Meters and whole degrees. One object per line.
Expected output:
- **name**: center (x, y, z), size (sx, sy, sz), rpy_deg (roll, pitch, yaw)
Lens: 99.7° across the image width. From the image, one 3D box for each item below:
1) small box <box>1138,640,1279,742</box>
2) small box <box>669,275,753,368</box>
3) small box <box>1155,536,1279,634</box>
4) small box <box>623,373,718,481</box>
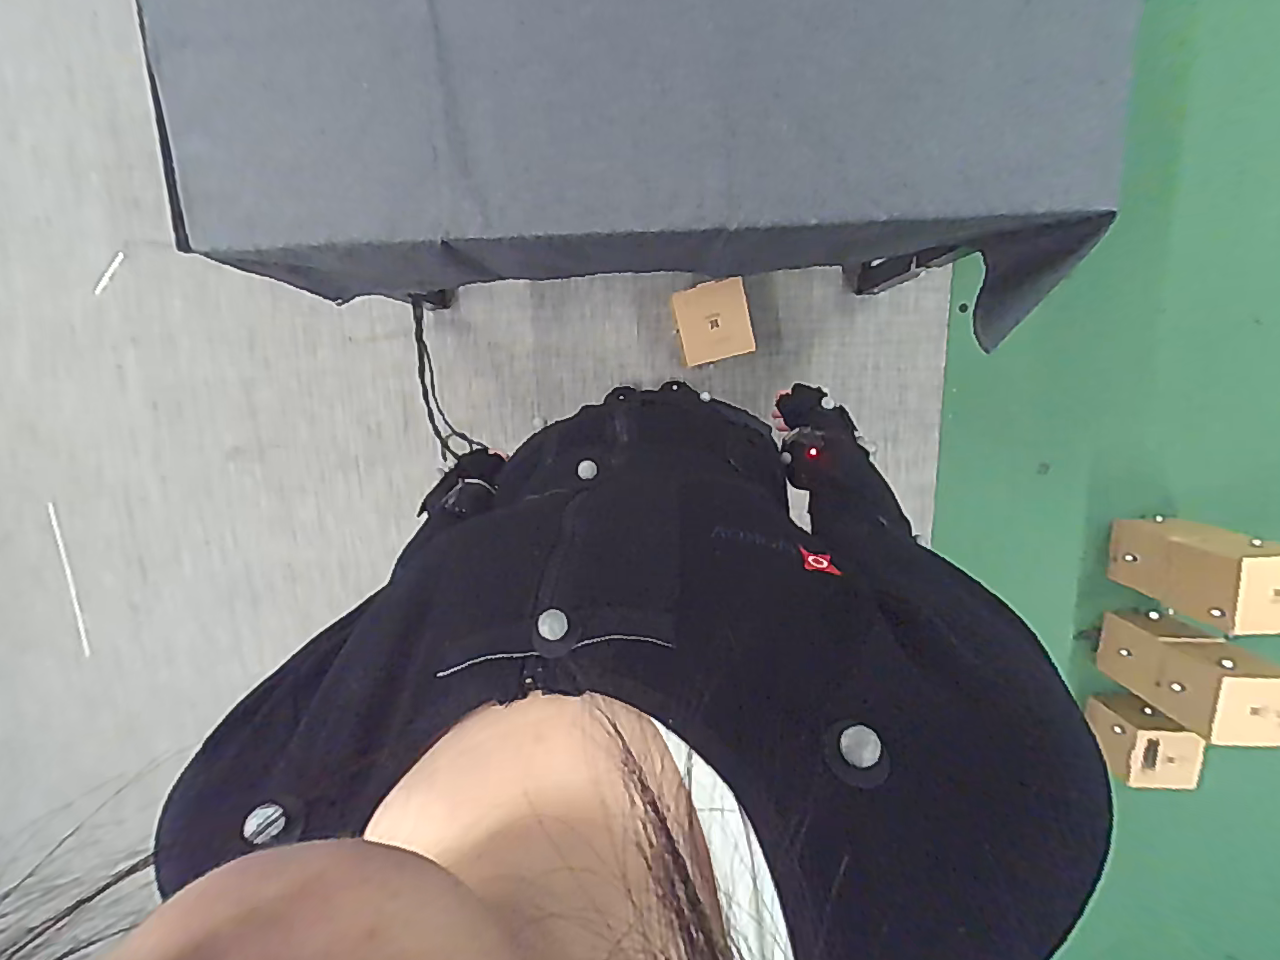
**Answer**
- **small box**: center (1.346, 0.494, 1.282), size (0.179, 0.176, 0.168), rpy_deg (0, 101, 2)
- **small box**: center (0.167, -0.381, 1.328), size (0.168, 0.176, 0.179), rpy_deg (-13, 99, 5)
- **small box**: center (1.338, 0.231, 1.235), size (0.168, 0.176, 0.179), rpy_deg (-4, 101, 2)
- **small box**: center (0.080, -0.132, 1.383), size (0.179, 0.176, 0.168), rpy_deg (-43, 67, -14)
